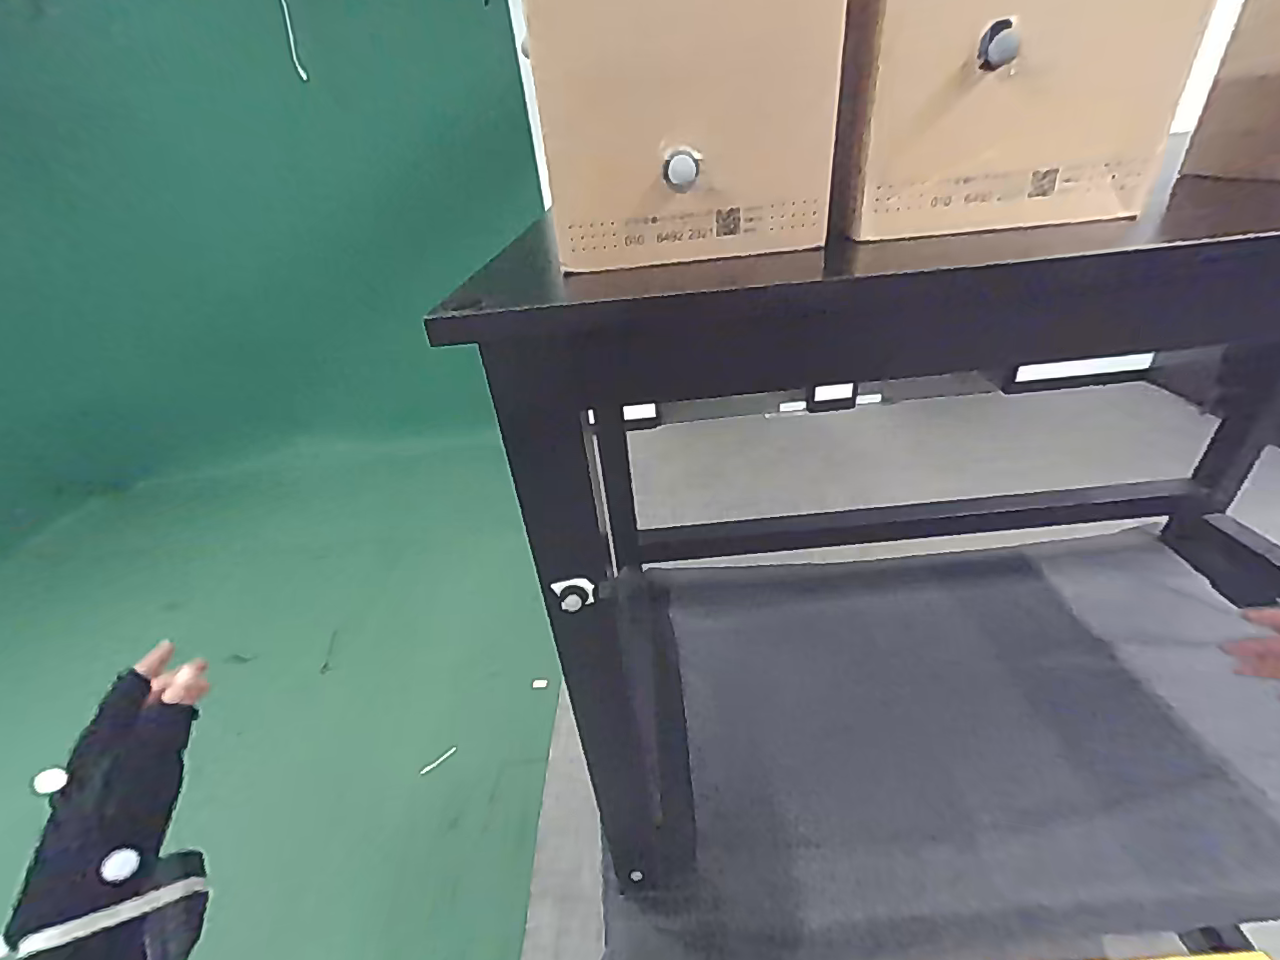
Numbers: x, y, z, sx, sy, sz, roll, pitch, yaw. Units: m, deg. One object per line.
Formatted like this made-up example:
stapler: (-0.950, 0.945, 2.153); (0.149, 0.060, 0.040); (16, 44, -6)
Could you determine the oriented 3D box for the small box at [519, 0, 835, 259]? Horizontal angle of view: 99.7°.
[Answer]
small box: (0.018, -0.254, 0.365); (0.168, 0.176, 0.179); (-6, 33, 1)
